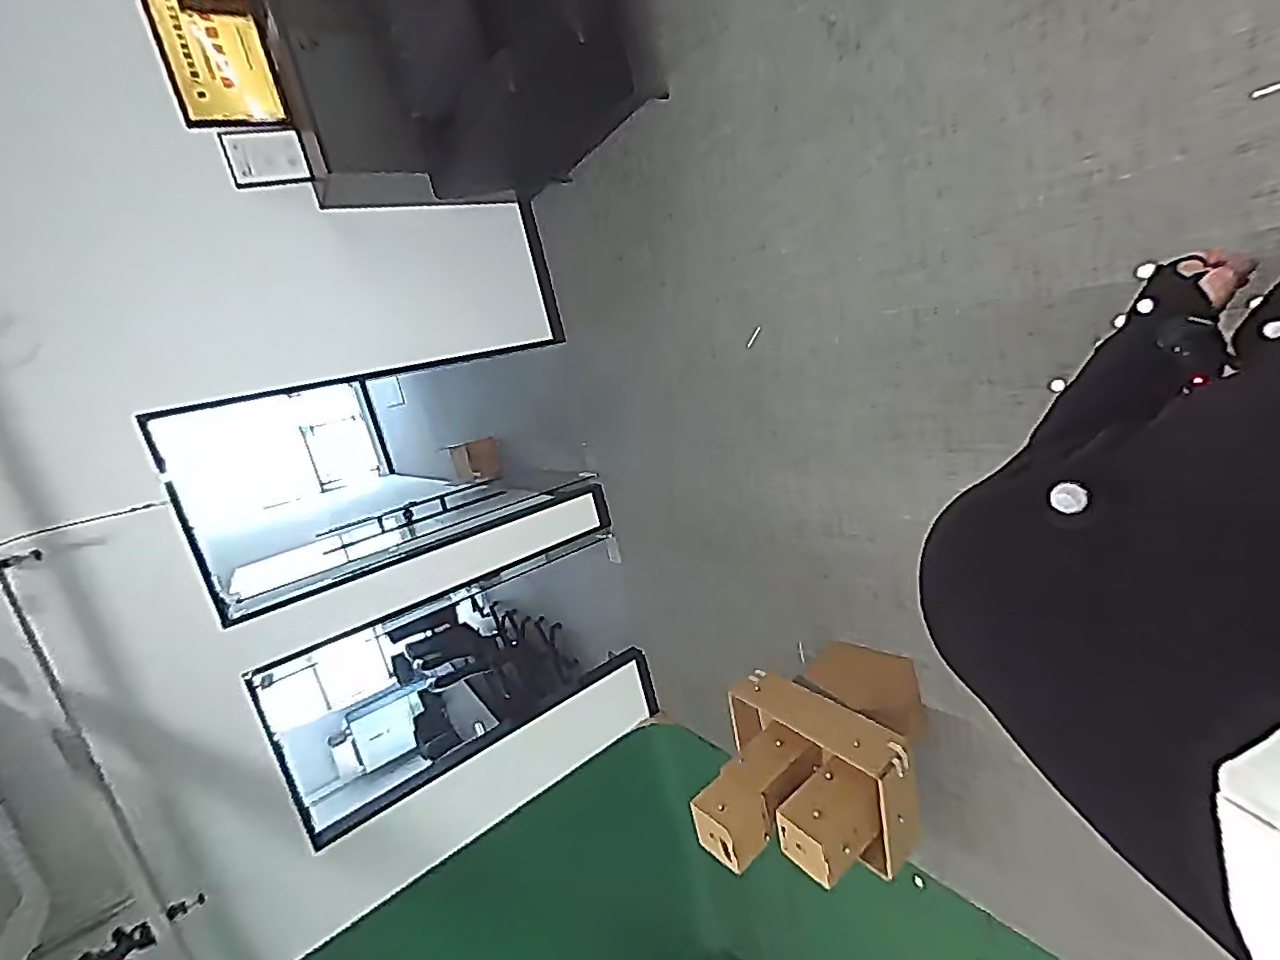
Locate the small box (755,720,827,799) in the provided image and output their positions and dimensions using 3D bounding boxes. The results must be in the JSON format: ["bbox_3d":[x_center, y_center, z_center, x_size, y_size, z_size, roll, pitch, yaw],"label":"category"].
[{"bbox_3d":[0.544,0.995,1.942,0.179,0.176,0.168,6,111,52],"label":"small box"}]

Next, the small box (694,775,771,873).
[{"bbox_3d":[0.304,1.091,1.737,0.179,0.176,0.168,3,109,54],"label":"small box"}]

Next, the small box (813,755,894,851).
[{"bbox_3d":[0.685,1.023,1.733,0.179,0.176,0.168,11,117,55],"label":"small box"}]

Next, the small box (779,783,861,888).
[{"bbox_3d":[0.555,1.071,1.648,0.179,0.176,0.168,10,115,54],"label":"small box"}]
